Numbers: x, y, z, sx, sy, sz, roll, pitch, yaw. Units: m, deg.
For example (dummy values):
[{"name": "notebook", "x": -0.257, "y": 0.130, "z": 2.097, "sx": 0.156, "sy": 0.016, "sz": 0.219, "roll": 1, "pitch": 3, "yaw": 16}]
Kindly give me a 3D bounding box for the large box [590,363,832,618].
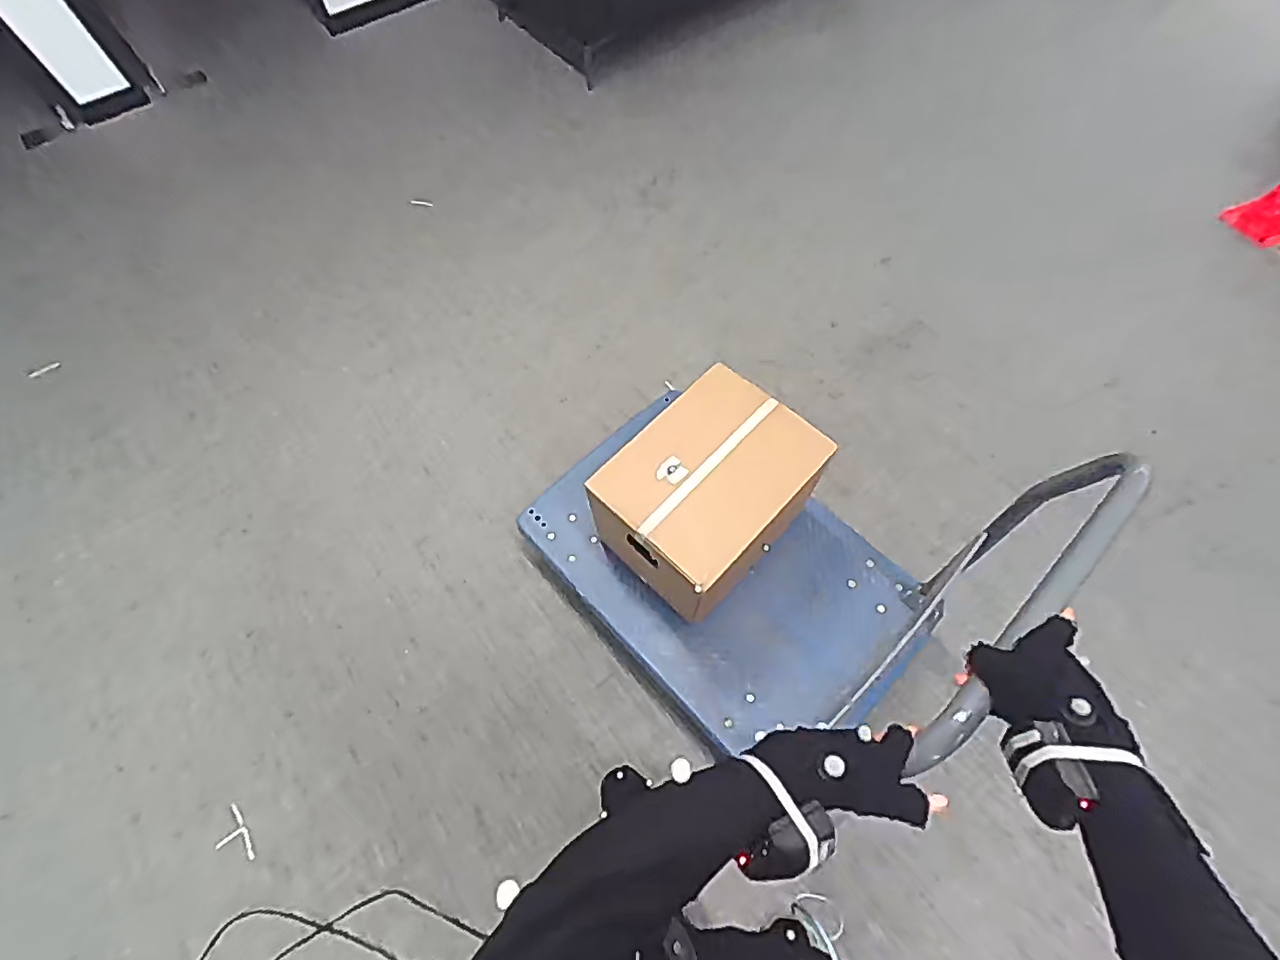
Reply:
[{"name": "large box", "x": 0.148, "y": 0.032, "z": 1.198, "sx": 0.320, "sy": 0.320, "sz": 0.408, "roll": 39, "pitch": 72, "yaw": 19}]
